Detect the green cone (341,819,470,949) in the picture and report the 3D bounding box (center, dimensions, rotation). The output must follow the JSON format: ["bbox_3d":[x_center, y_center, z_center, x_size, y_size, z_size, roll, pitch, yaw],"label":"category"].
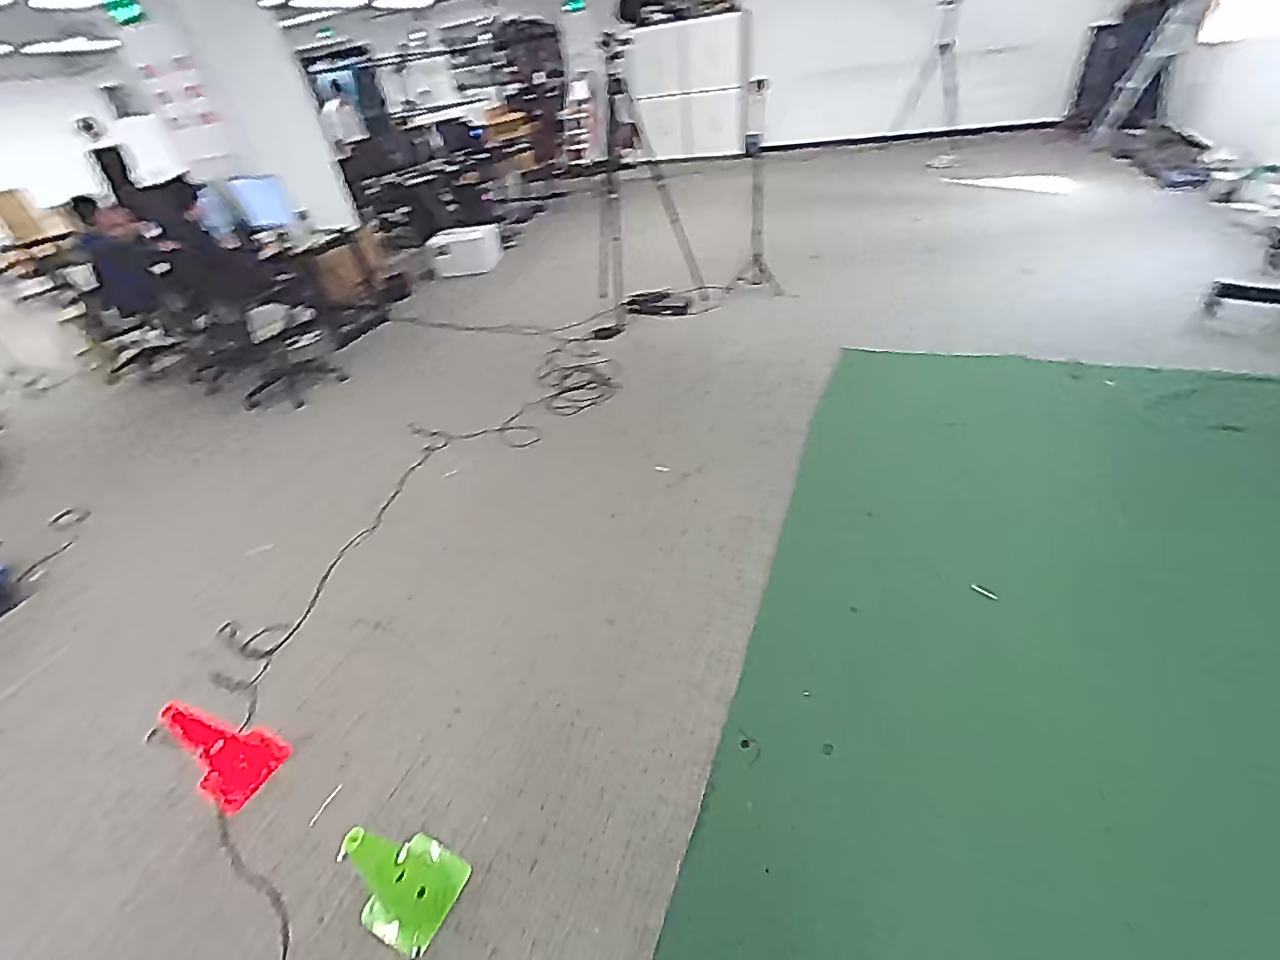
[{"bbox_3d":[-0.571,0.863,1.229,0.202,0.368,0.200,11,42,25],"label":"green cone"}]

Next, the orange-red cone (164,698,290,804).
[{"bbox_3d":[-1.219,0.727,1.540,0.199,0.360,0.198,14,45,25],"label":"orange-red cone"}]
